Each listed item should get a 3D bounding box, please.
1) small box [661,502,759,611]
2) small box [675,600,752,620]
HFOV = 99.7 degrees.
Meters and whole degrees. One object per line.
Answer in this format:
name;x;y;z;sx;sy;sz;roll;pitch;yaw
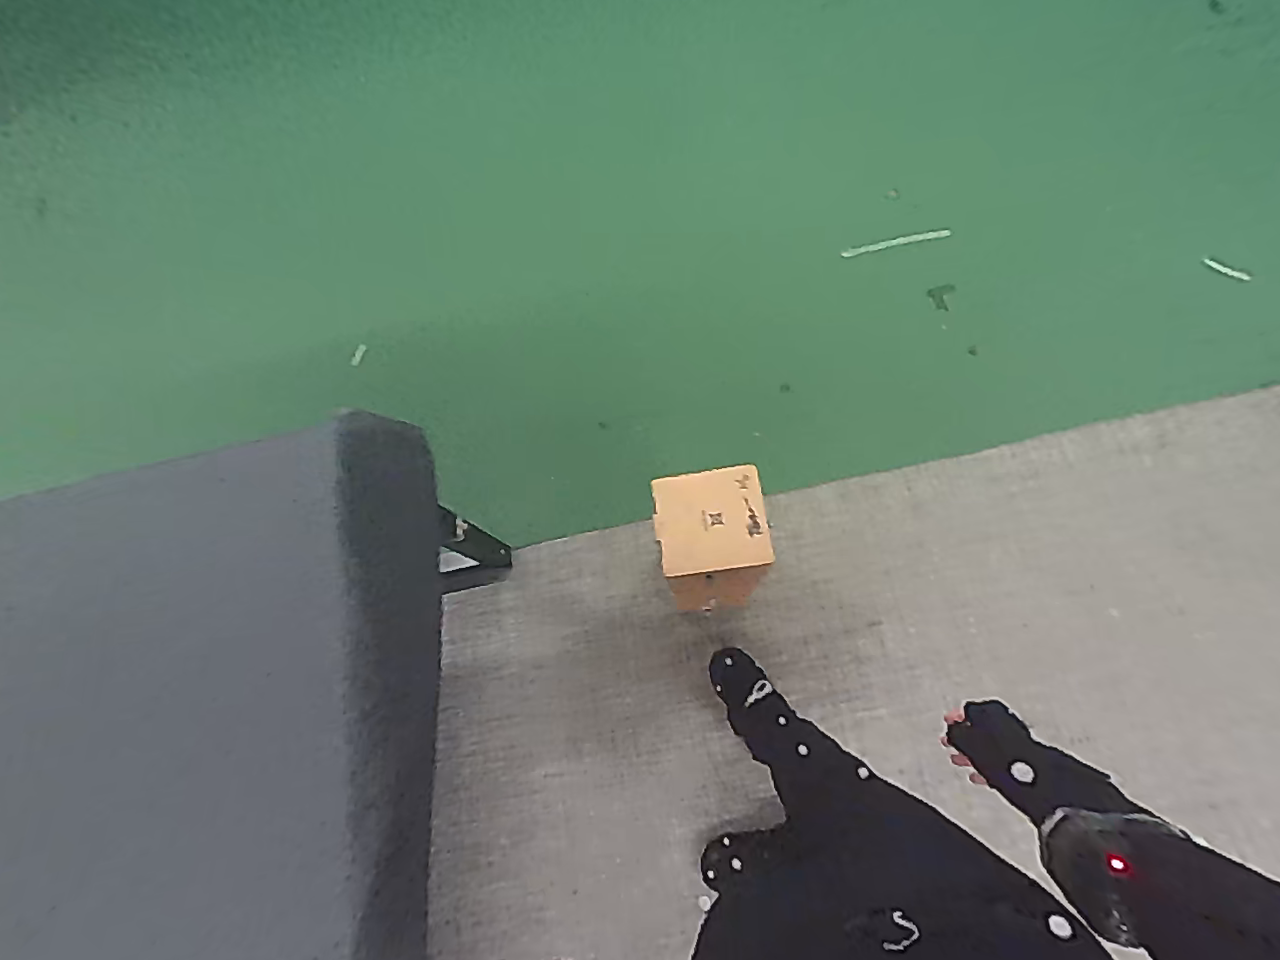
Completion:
small box;0.137;0.159;1.089;0.168;0.176;0.179;-9;71;5
small box;0.156;0.218;1.242;0.168;0.176;0.179;-9;71;4
